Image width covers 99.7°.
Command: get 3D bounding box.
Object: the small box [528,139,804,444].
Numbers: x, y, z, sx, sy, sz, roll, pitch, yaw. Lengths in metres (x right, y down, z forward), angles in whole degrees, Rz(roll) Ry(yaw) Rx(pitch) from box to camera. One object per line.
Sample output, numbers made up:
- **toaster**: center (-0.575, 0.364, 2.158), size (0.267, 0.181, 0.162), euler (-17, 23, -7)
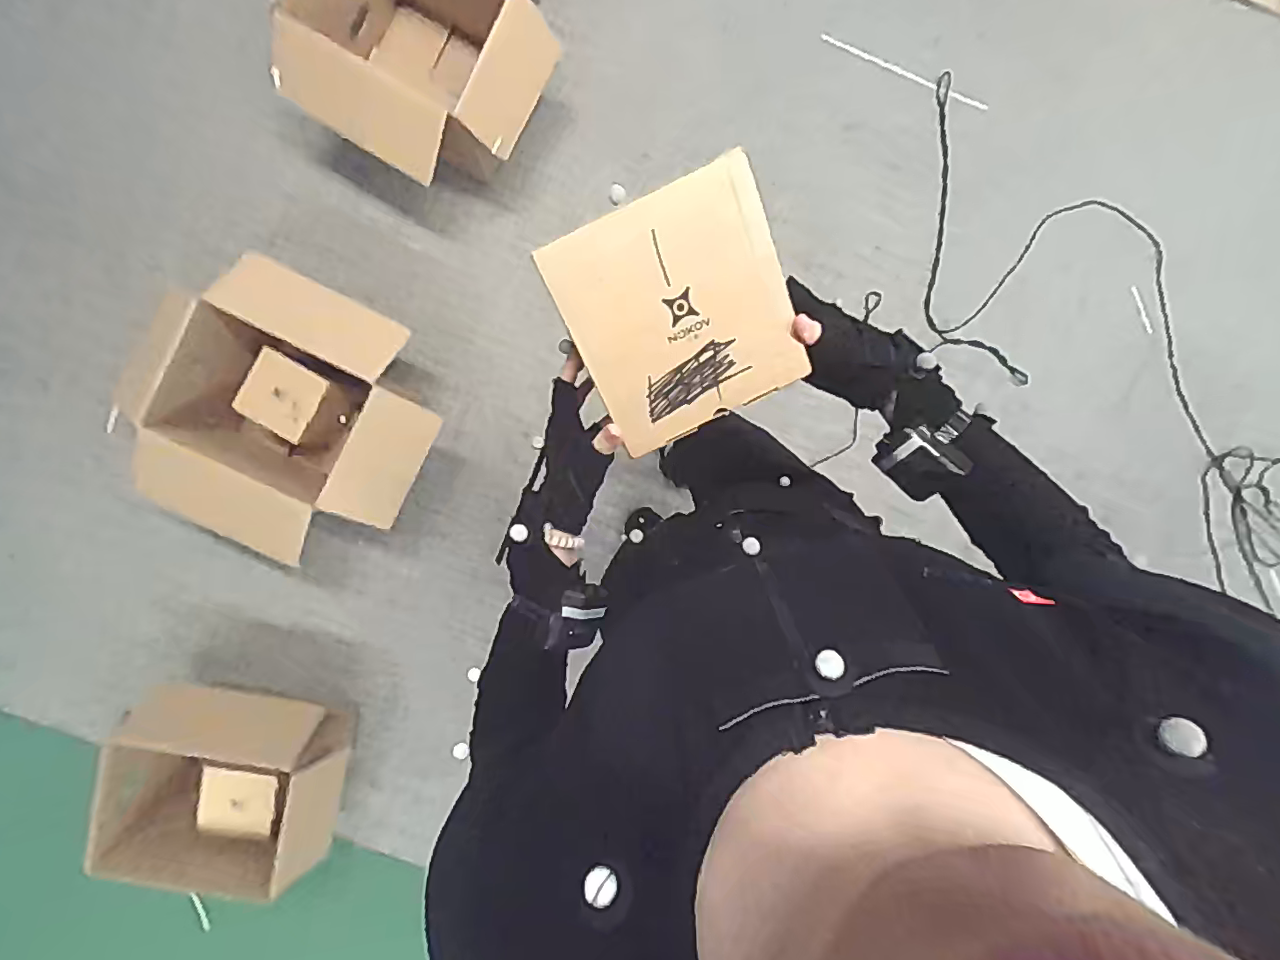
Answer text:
- **small box**: center (0.017, -0.163, 0.478), size (0.168, 0.176, 0.179), euler (-25, 115, 1)
